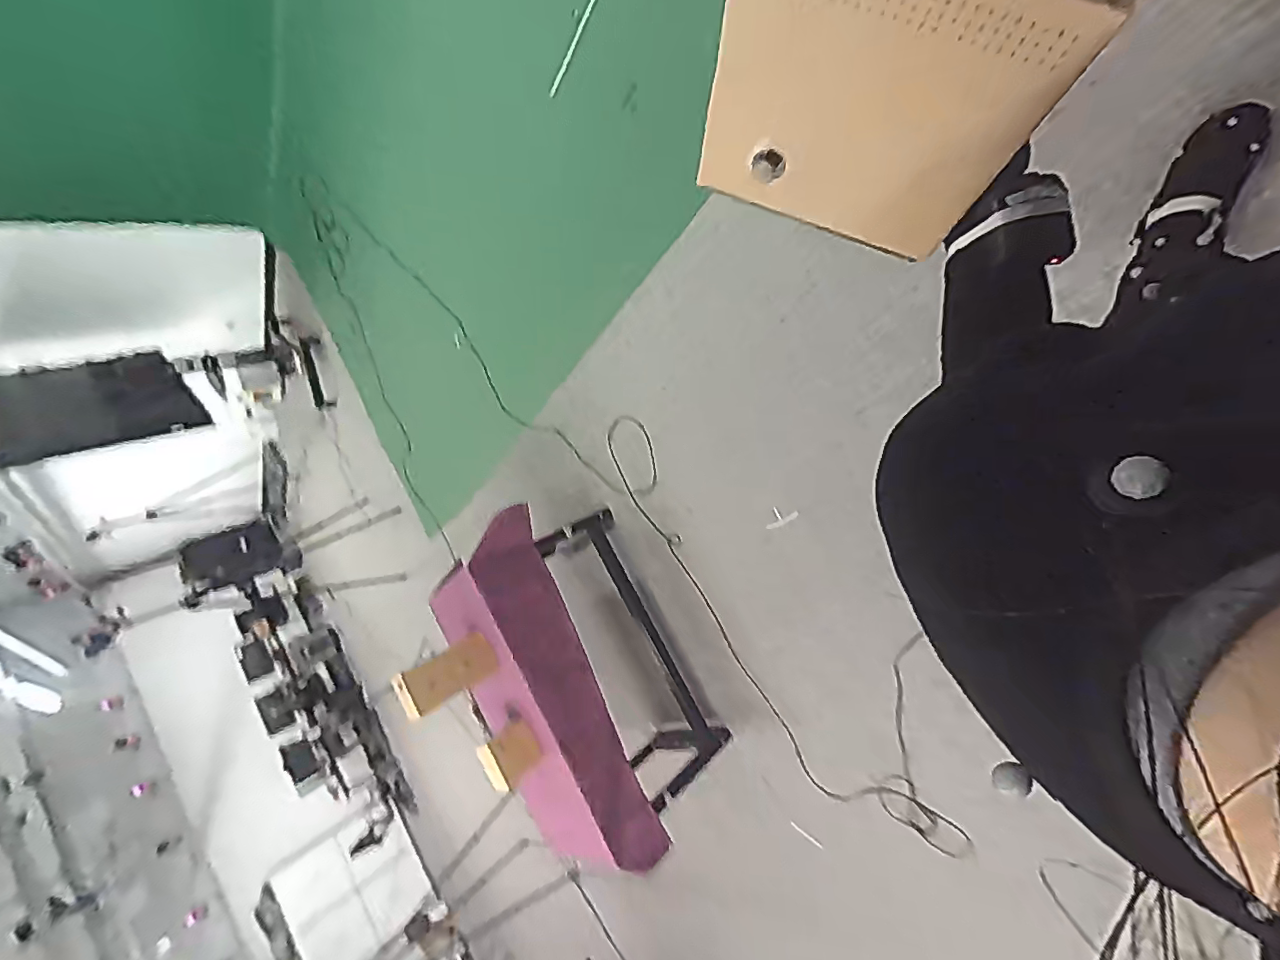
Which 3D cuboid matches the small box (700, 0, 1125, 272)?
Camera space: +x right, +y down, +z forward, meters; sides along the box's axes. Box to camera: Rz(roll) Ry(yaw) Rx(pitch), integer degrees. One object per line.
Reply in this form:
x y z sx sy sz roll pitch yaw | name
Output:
0.155 -0.274 0.342 0.179 0.168 0.176 20 167 4 | small box

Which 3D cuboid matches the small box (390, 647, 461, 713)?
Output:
-0.800 0.739 2.017 0.168 0.176 0.179 -34 83 48 | small box

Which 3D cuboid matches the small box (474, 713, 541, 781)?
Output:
-0.510 1.036 2.096 0.168 0.176 0.179 -41 76 48 | small box

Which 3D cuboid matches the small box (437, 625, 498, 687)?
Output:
-0.685 0.695 2.125 0.168 0.176 0.179 -34 81 48 | small box
